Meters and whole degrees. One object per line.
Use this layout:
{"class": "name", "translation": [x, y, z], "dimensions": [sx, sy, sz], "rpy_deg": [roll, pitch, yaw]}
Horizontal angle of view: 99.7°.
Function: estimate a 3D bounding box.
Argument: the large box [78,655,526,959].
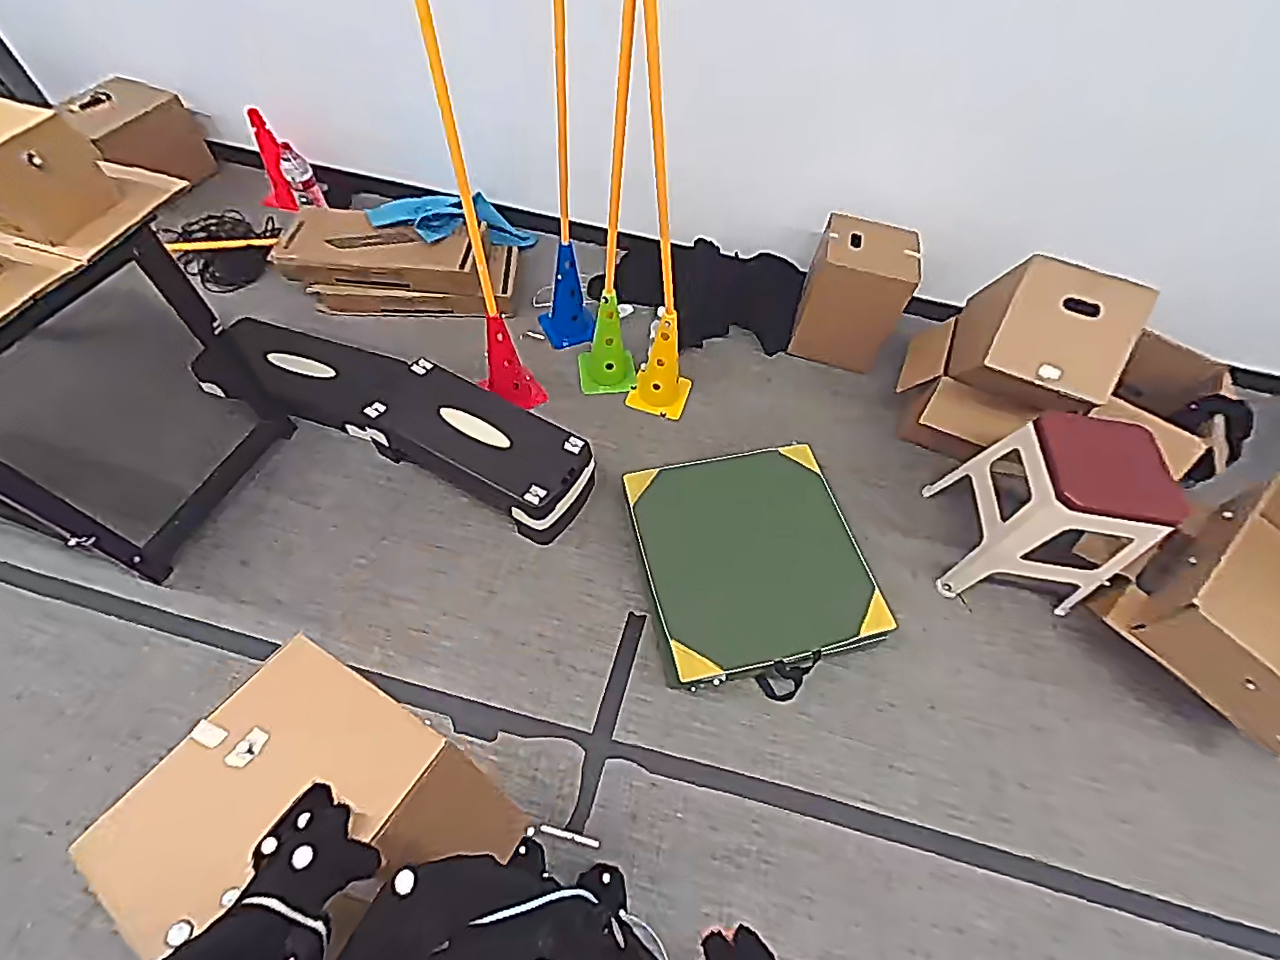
{"class": "large box", "translation": [-0.421, 0.522, 0.775], "dimensions": [0.320, 0.408, 0.320], "rpy_deg": [21, 52, 24]}
